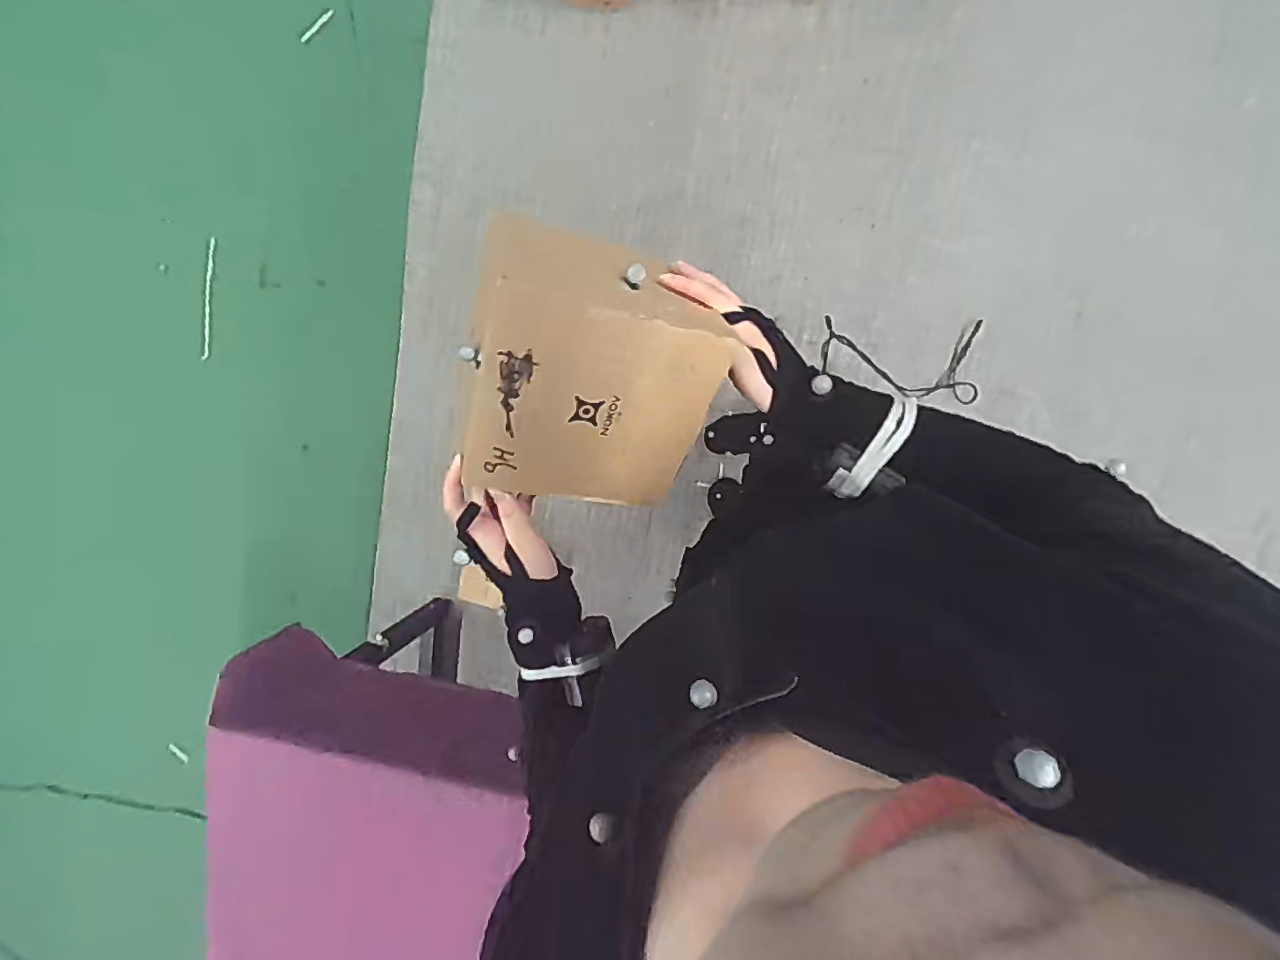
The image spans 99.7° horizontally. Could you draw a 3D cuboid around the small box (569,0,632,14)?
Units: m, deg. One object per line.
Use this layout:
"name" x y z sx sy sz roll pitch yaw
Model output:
"small box" -0.102 -1.273 1.300 0.168 0.176 0.179 10 98 8
